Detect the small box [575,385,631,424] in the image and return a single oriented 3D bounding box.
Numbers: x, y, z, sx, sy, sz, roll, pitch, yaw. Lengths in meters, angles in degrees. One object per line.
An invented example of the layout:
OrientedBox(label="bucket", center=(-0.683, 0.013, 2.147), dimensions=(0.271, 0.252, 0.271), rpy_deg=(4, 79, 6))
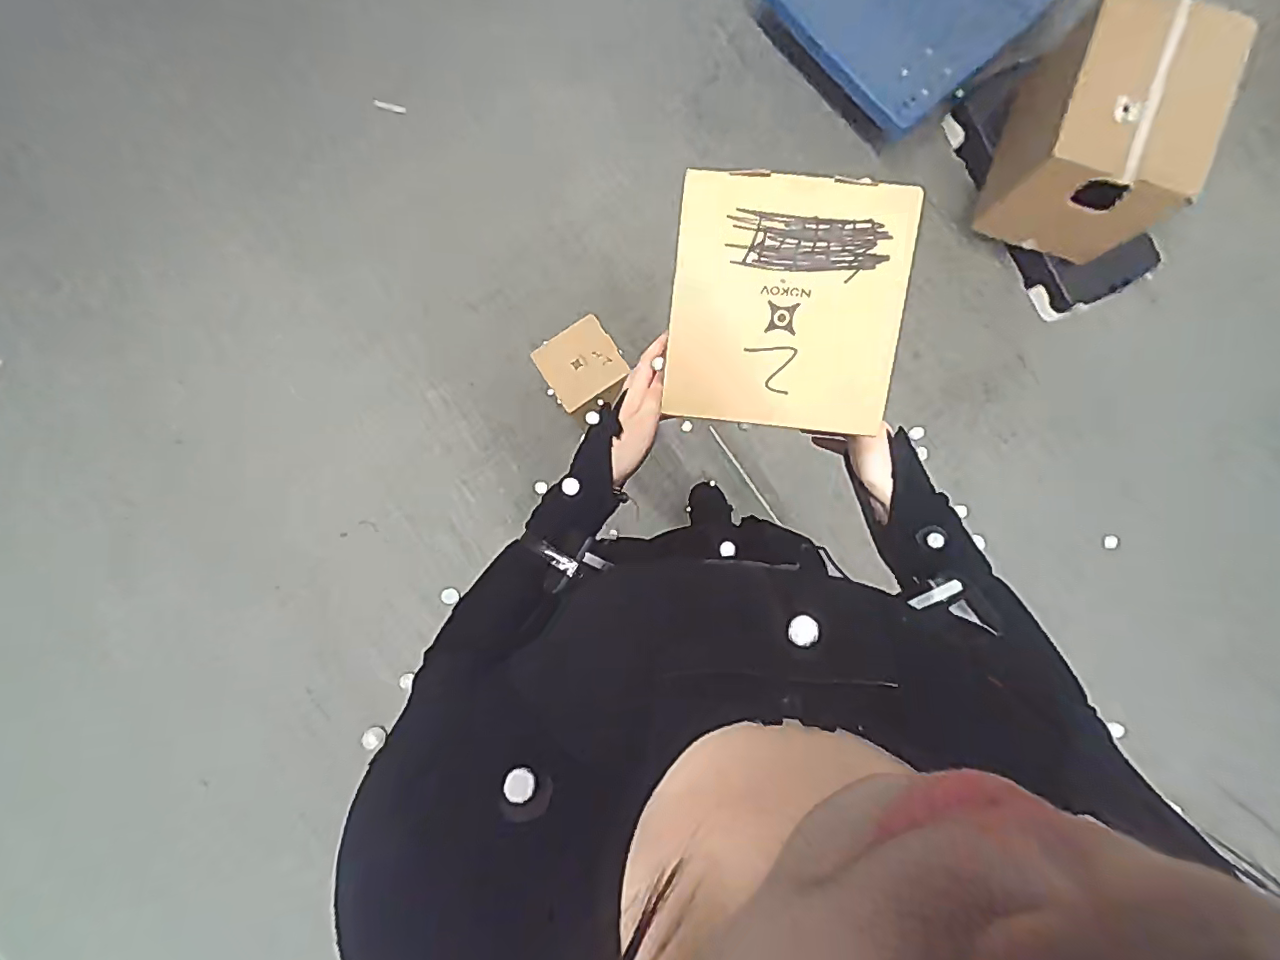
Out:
OrientedBox(label="small box", center=(-0.136, -0.263, 1.449), dimensions=(0.168, 0.176, 0.179), rpy_deg=(-34, 87, 0))

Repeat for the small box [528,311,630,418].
OrientedBox(label="small box", center=(-0.135, -0.263, 1.284), dimensions=(0.179, 0.176, 0.168), rpy_deg=(-33, 88, 0))
